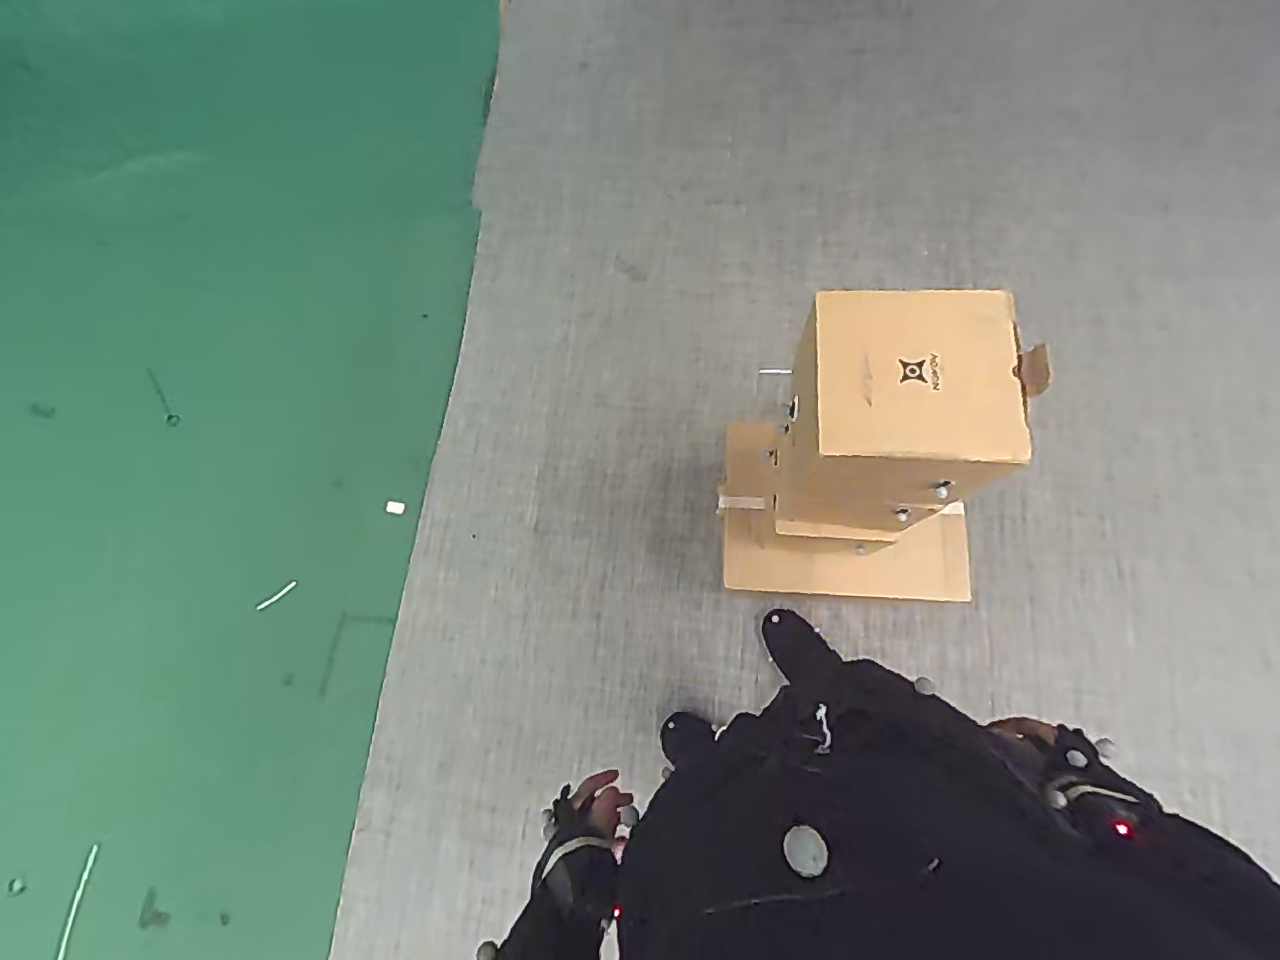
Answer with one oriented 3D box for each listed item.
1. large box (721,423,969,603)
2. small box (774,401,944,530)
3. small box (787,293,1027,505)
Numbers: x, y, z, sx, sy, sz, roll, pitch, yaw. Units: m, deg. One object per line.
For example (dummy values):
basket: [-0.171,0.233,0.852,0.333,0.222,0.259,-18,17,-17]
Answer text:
large box: [0.371,0.082,1.096,0.408,0.320,0.320,1,77,7]
small box: [0.278,-0.034,0.715,0.179,0.176,0.168,6,76,9]
small box: [0.254,-0.073,0.559,0.179,0.176,0.168,2,74,8]
